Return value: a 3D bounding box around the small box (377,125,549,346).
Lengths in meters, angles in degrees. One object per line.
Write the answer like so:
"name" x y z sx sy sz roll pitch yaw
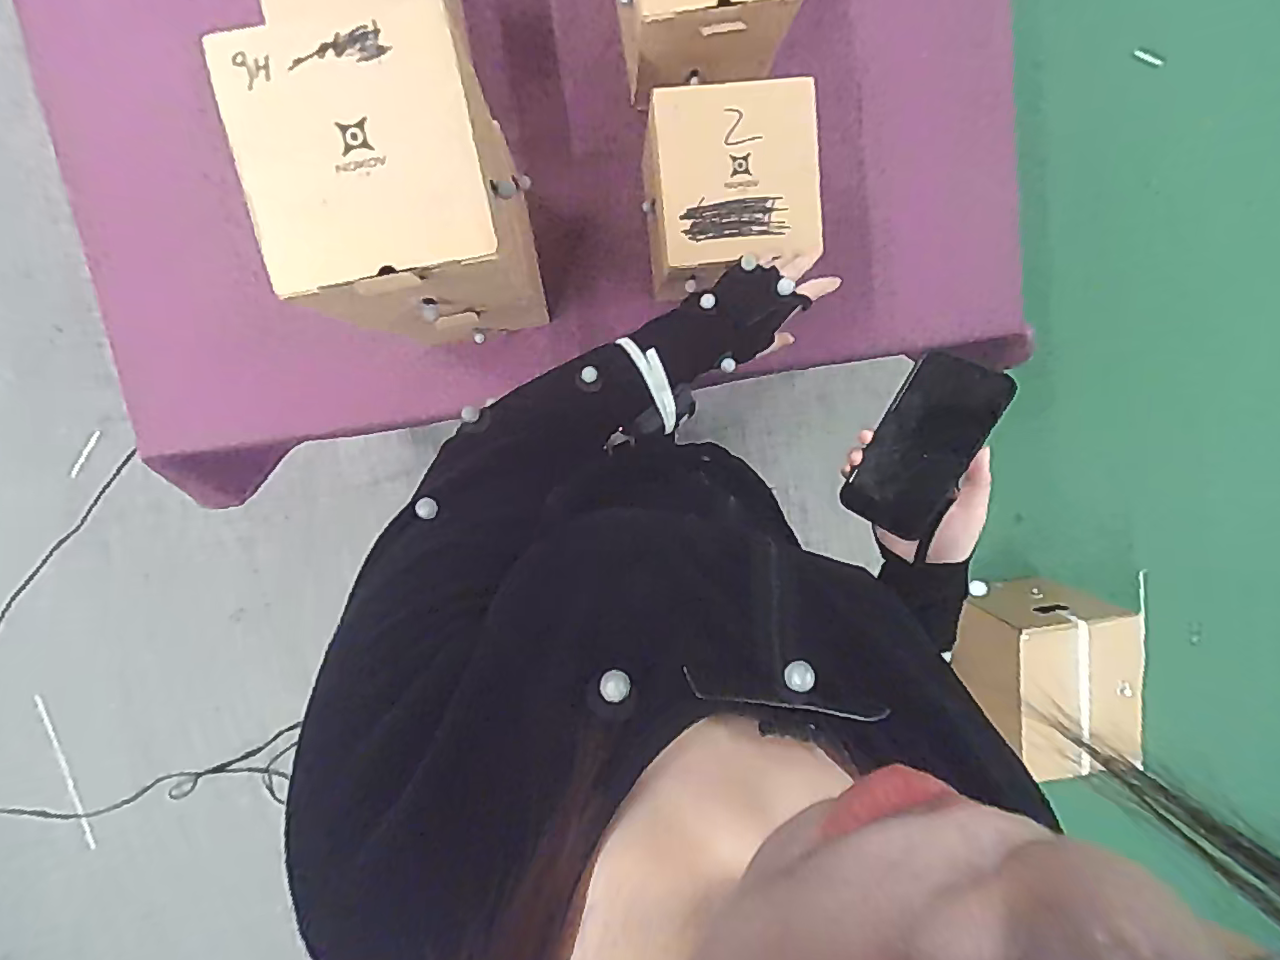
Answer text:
"small box" -0.208 -0.264 0.623 0.168 0.176 0.179 -11 98 -1

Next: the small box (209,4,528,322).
"small box" -0.201 -0.239 0.460 0.168 0.176 0.179 -12 99 -2

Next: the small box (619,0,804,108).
"small box" 0.065 -0.558 0.599 0.168 0.176 0.179 -11 100 -1
